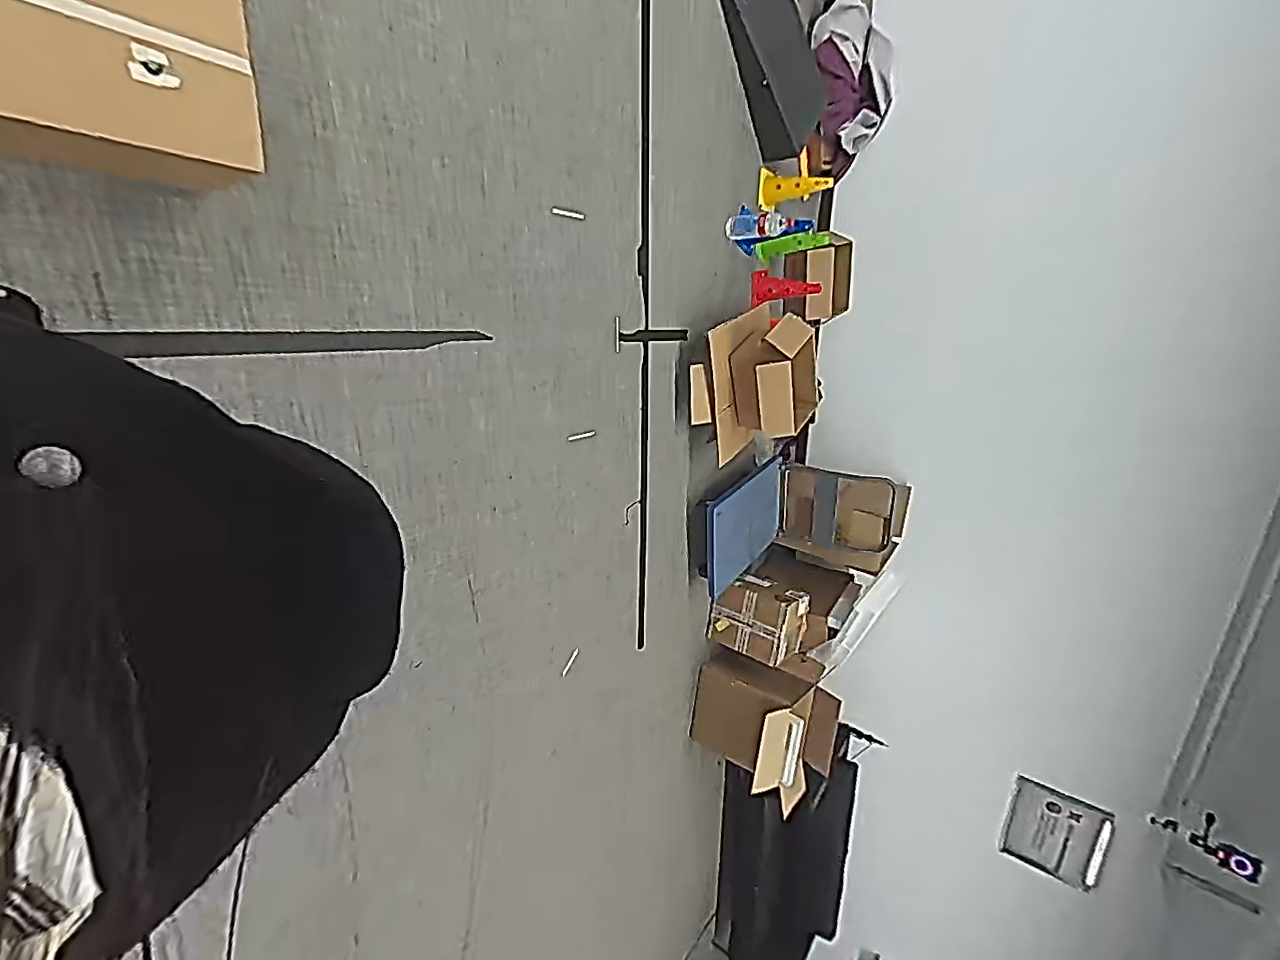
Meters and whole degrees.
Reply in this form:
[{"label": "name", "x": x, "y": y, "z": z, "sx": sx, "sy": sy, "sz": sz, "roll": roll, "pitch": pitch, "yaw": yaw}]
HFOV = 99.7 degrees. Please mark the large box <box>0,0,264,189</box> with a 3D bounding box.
[{"label": "large box", "x": -0.893, "y": -0.680, "z": 0.840, "sx": 0.408, "sy": 0.320, "sz": 0.320, "roll": -18, "pitch": 115, "yaw": -51}]
